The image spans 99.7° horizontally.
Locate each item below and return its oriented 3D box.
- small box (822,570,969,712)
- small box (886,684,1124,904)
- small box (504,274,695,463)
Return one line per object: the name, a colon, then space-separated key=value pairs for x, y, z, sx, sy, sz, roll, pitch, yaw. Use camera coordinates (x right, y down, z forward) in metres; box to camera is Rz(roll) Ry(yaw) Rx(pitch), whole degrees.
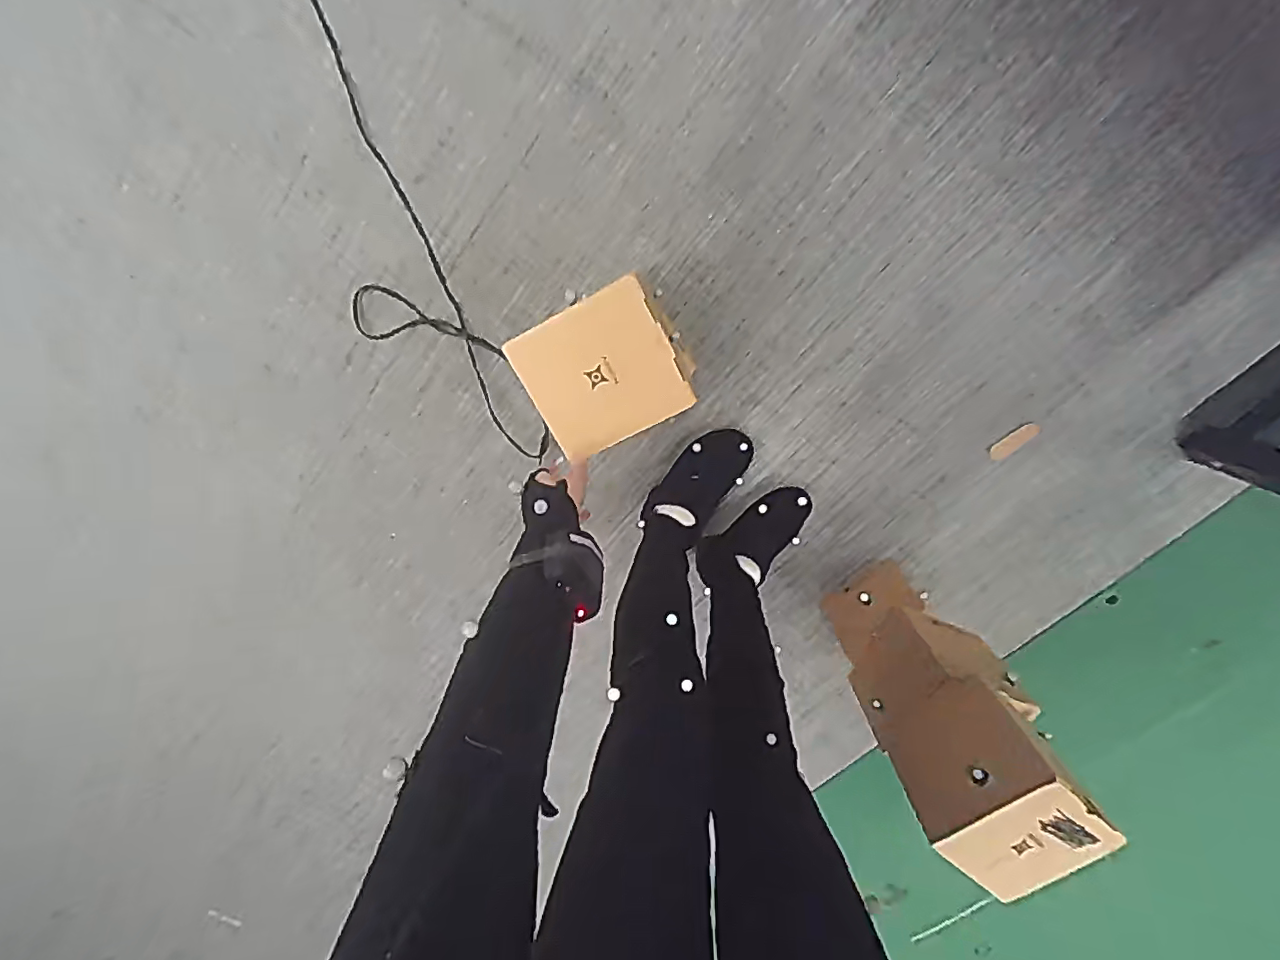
small box: x=0.481 y=0.298 z=1.044 sx=0.168 sy=0.176 sz=0.179 roll=-36 pitch=106 yaw=15
small box: x=0.477 y=0.418 z=0.737 sx=0.168 sy=0.176 sz=0.179 roll=41 pitch=109 yaw=-15
small box: x=-0.042 y=-0.149 z=0.702 sx=0.179 sy=0.176 sz=0.168 roll=-25 pitch=108 yaw=11
